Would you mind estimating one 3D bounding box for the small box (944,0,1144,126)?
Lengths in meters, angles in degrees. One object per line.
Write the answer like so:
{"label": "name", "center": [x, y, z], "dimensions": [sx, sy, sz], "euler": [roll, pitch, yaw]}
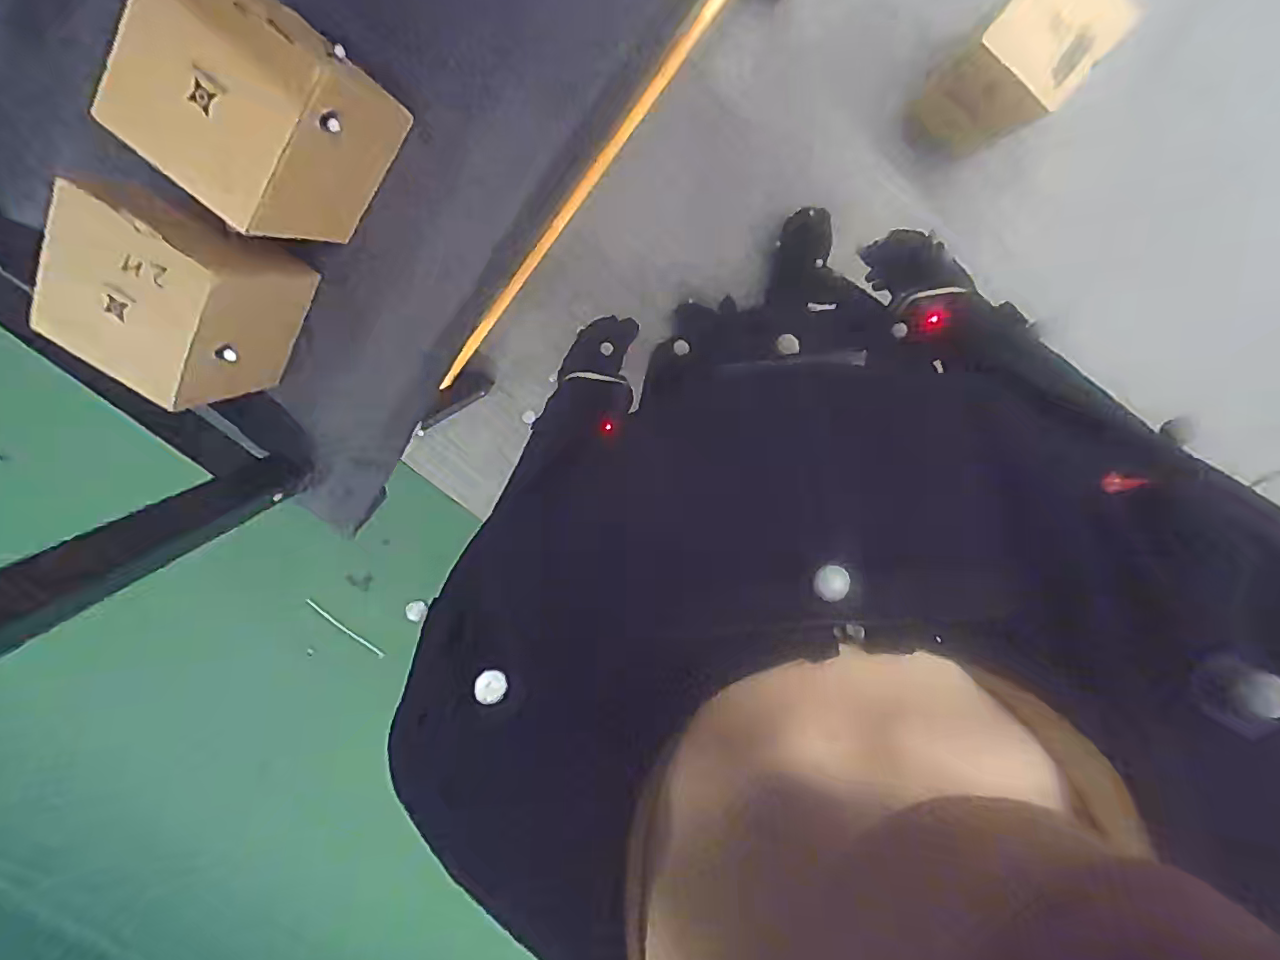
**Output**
{"label": "small box", "center": [0.667, -0.739, 0.917], "dimensions": [0.179, 0.176, 0.168], "euler": [38, 110, -7]}
